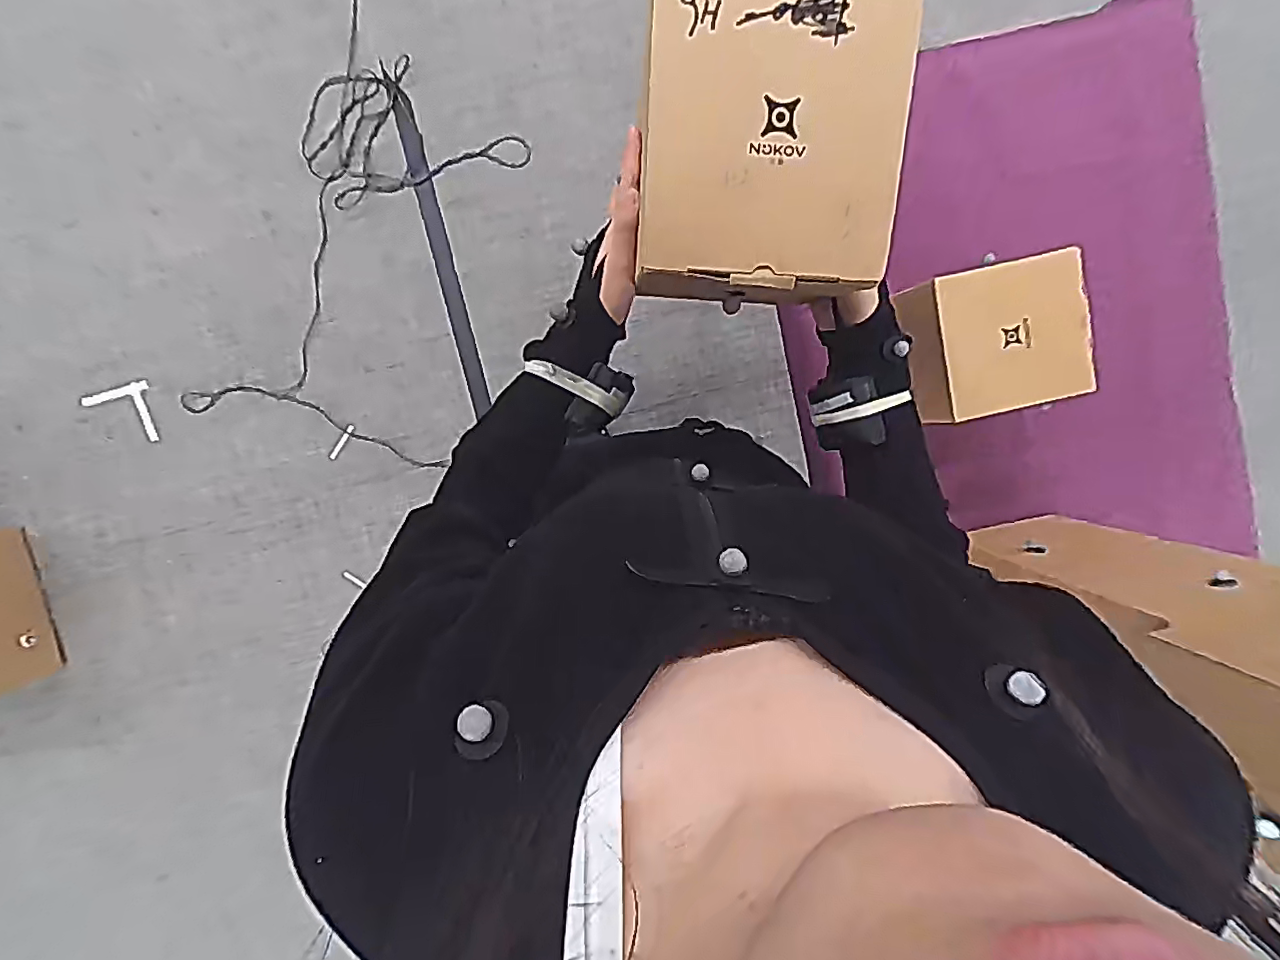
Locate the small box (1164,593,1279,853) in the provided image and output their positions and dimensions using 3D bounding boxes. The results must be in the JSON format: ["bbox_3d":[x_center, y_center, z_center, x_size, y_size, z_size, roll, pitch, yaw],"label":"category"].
[{"bbox_3d":[0.554,0.196,0.410,0.179,0.176,0.168,-15,98,-2],"label":"small box"}]

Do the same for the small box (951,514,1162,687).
[{"bbox_3d":[0.552,0.151,0.734,0.179,0.176,0.168,-11,97,-3],"label":"small box"}]

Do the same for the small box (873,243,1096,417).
[{"bbox_3d":[0.421,-0.177,0.691,0.179,0.176,0.168,-13,97,-3],"label":"small box"}]

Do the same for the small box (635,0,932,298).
[{"bbox_3d":[0.084,-0.239,0.415,0.168,0.176,0.179,2,104,-4],"label":"small box"}]

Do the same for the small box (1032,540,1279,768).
[{"bbox_3d":[0.566,0.171,0.572,0.179,0.176,0.168,-11,97,-1],"label":"small box"}]
